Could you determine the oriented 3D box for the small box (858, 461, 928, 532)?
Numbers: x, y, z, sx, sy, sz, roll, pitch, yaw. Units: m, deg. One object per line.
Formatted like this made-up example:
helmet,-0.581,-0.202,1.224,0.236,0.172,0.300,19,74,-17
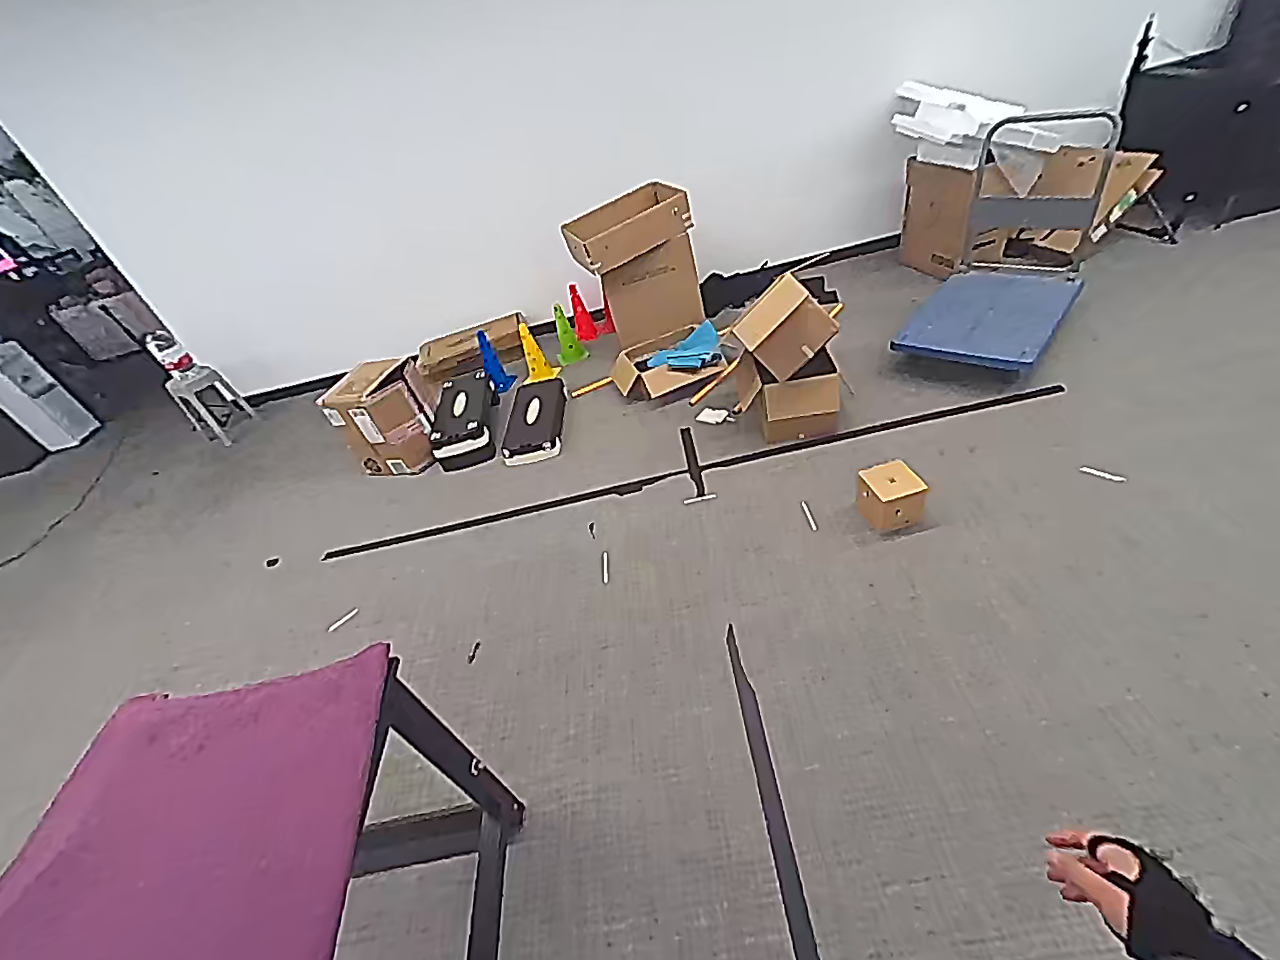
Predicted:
small box,0.899,0.067,1.932,0.168,0.176,0.179,-17,38,-1
